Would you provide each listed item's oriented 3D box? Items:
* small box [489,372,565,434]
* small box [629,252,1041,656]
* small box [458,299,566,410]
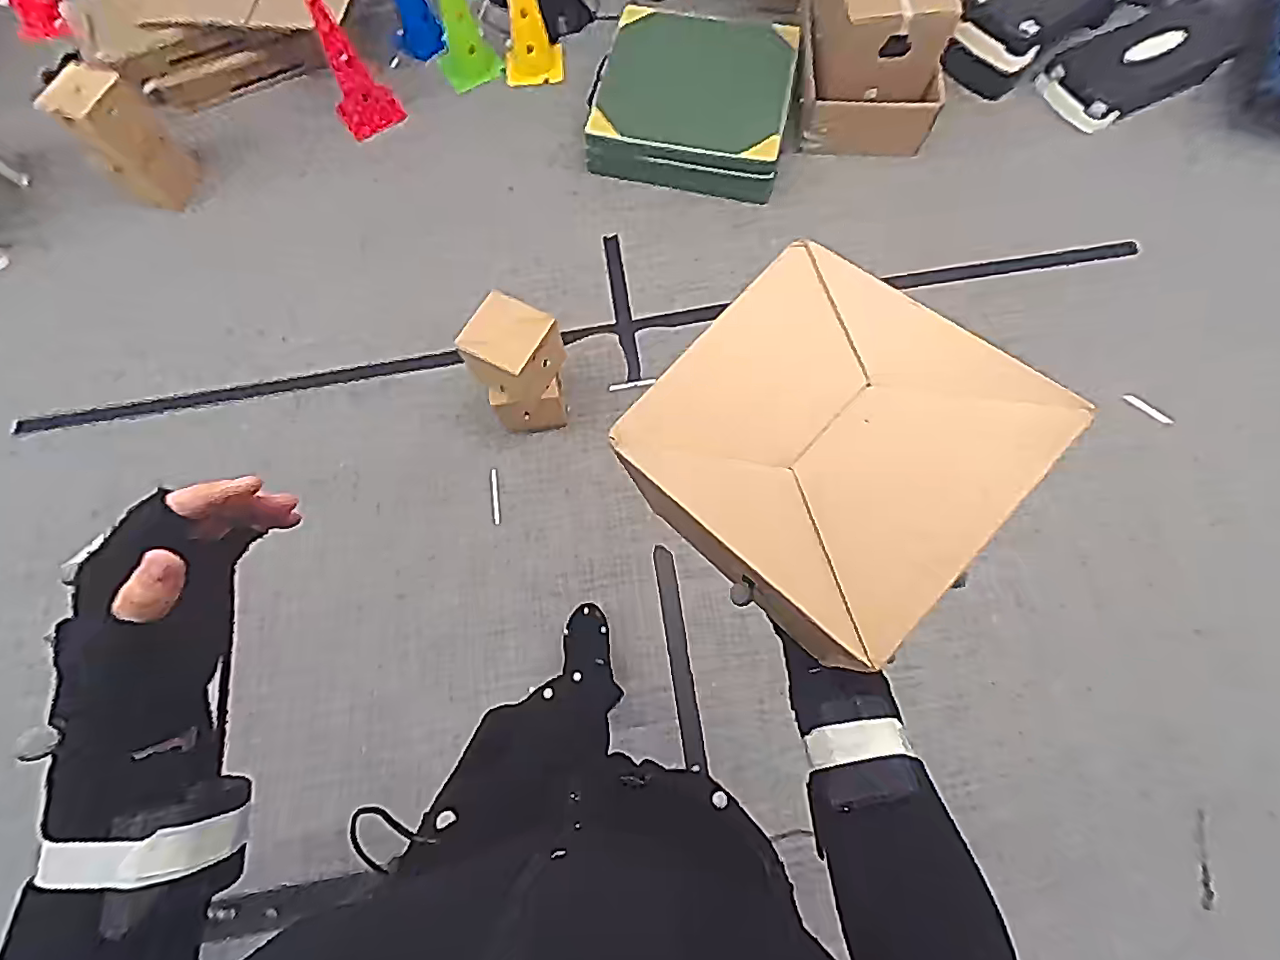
[{"bbox_3d":[-0.301,-0.236,1.464,0.179,0.176,0.168,-7,71,-1],"label":"small box"},{"bbox_3d":[0.114,-0.005,0.356,0.168,0.176,0.179,-45,70,-6],"label":"small box"},{"bbox_3d":[-0.305,-0.301,1.309,0.179,0.176,0.168,26,73,10],"label":"small box"}]
